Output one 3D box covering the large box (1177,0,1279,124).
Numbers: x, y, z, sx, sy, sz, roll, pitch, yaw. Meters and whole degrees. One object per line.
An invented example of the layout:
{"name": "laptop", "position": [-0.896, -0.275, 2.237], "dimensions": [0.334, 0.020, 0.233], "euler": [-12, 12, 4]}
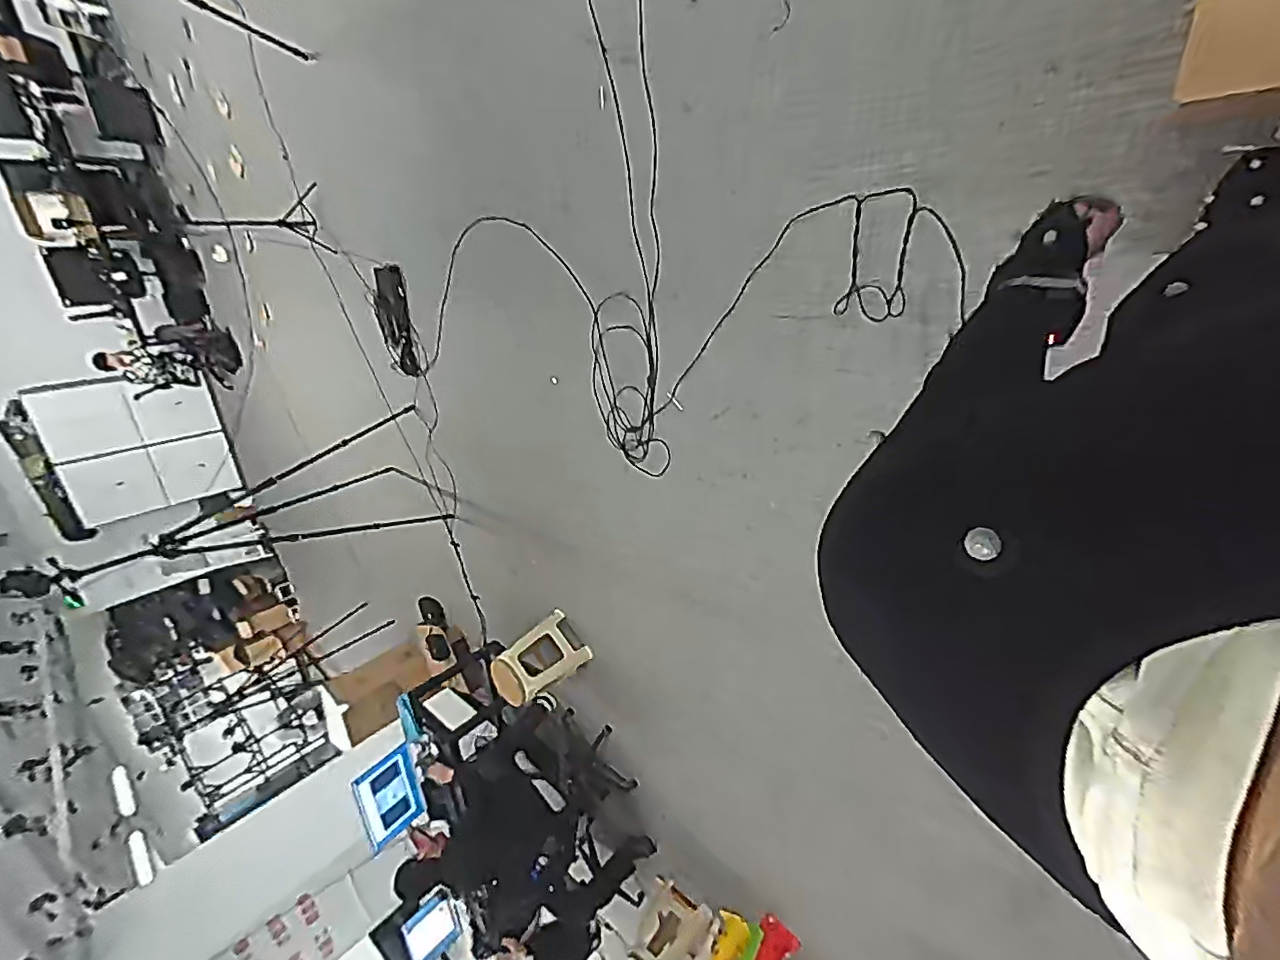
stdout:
{"name": "large box", "position": [1.100, -0.763, 0.789], "dimensions": [0.408, 0.320, 0.320], "euler": [14, 118, 39]}
